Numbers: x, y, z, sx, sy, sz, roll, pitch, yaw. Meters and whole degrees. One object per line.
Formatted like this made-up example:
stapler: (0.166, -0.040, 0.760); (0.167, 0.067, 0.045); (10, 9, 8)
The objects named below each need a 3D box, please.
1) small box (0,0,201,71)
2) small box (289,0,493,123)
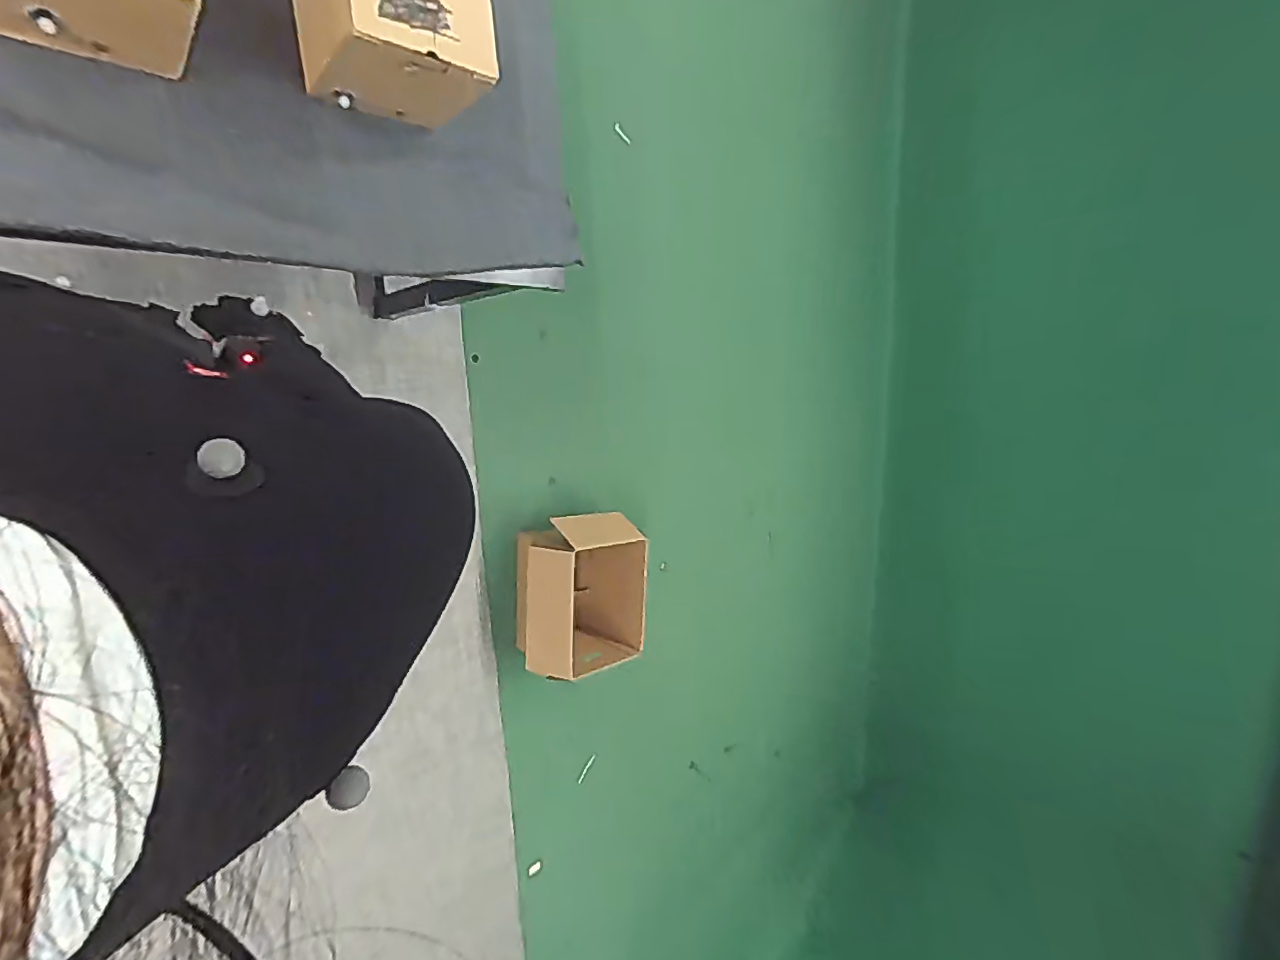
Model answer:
small box: (-0.491, -0.485, 0.439); (0.168, 0.176, 0.179); (-16, 108, -44)
small box: (-0.293, -0.553, 0.630); (0.168, 0.176, 0.179); (-15, 107, -44)
